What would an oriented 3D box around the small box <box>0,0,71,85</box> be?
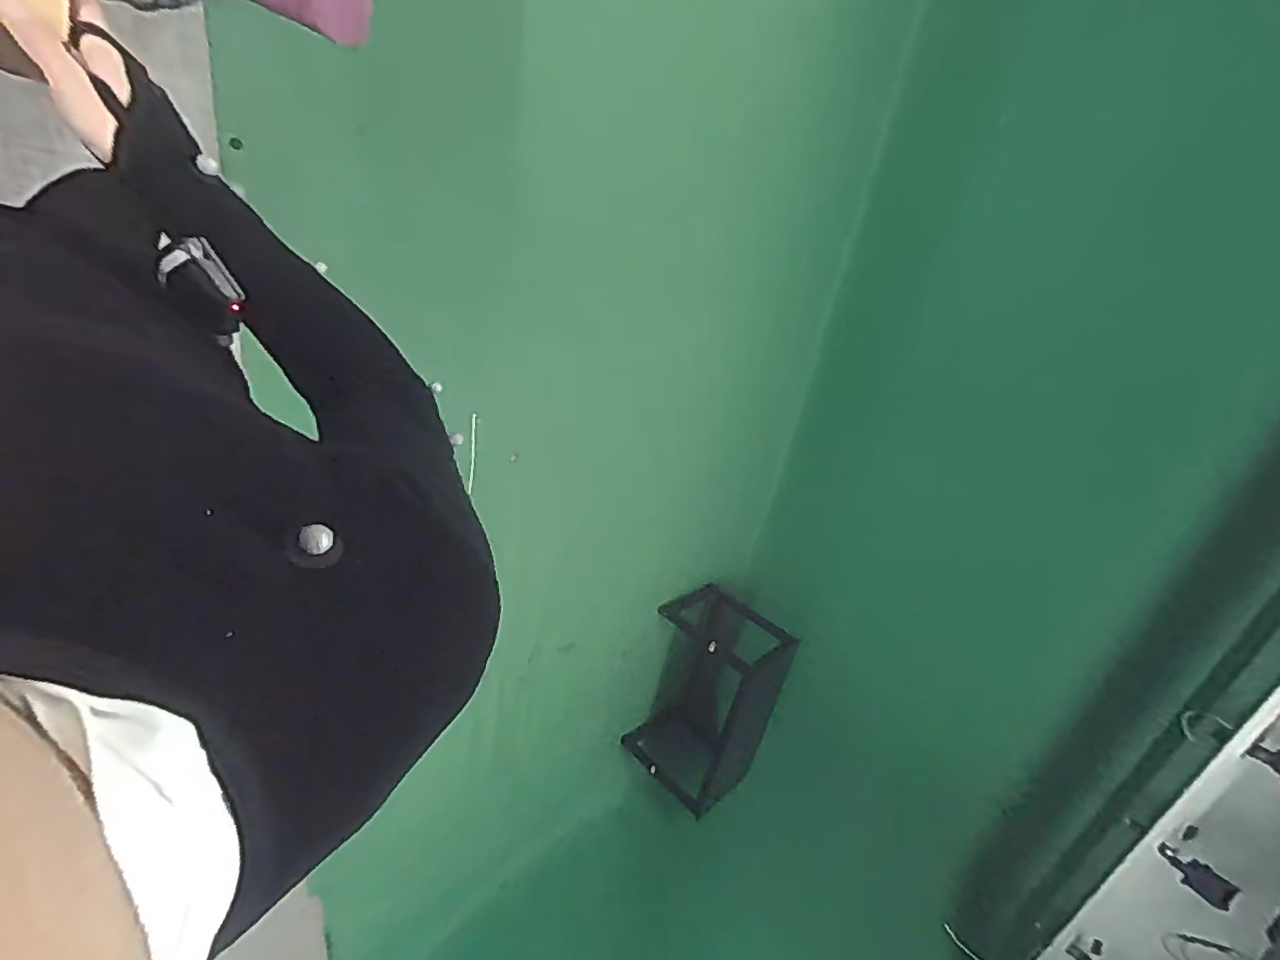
[{"bbox_3d":[-0.521,-0.421,0.377,0.168,0.176,0.179,-2,109,-48],"label":"small box"}]
